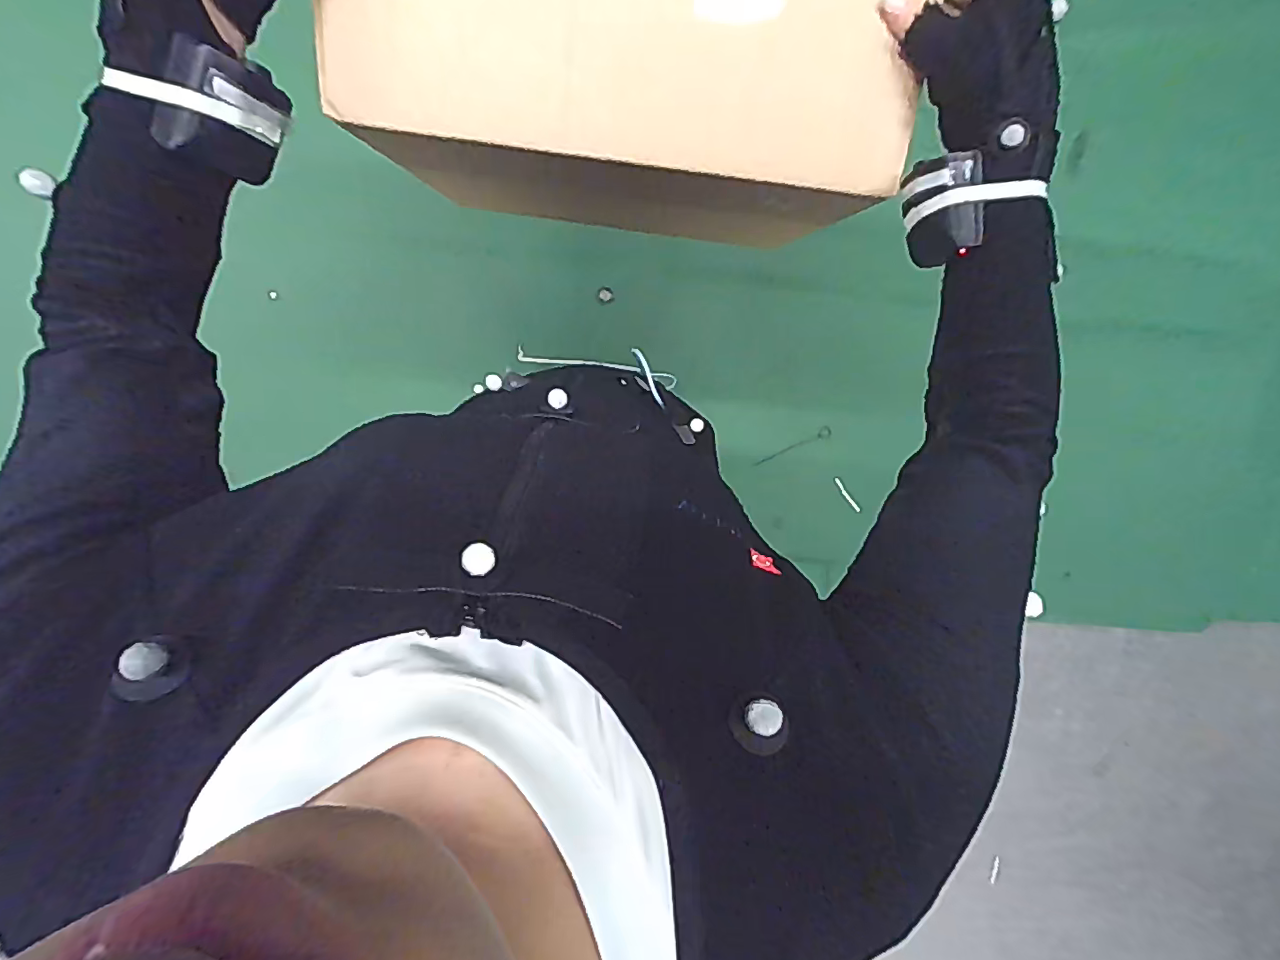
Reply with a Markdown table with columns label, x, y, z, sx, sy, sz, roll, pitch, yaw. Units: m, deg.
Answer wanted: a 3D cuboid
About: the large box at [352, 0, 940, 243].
| label | x | y | z | sx | sy | sz | roll | pitch | yaw |
| --- | --- | --- | --- | --- | --- | --- | --- | --- | --- |
| large box | 0.005 | -0.422 | 0.492 | 0.408 | 0.320 | 0.320 | 6 | 107 | -5 |
